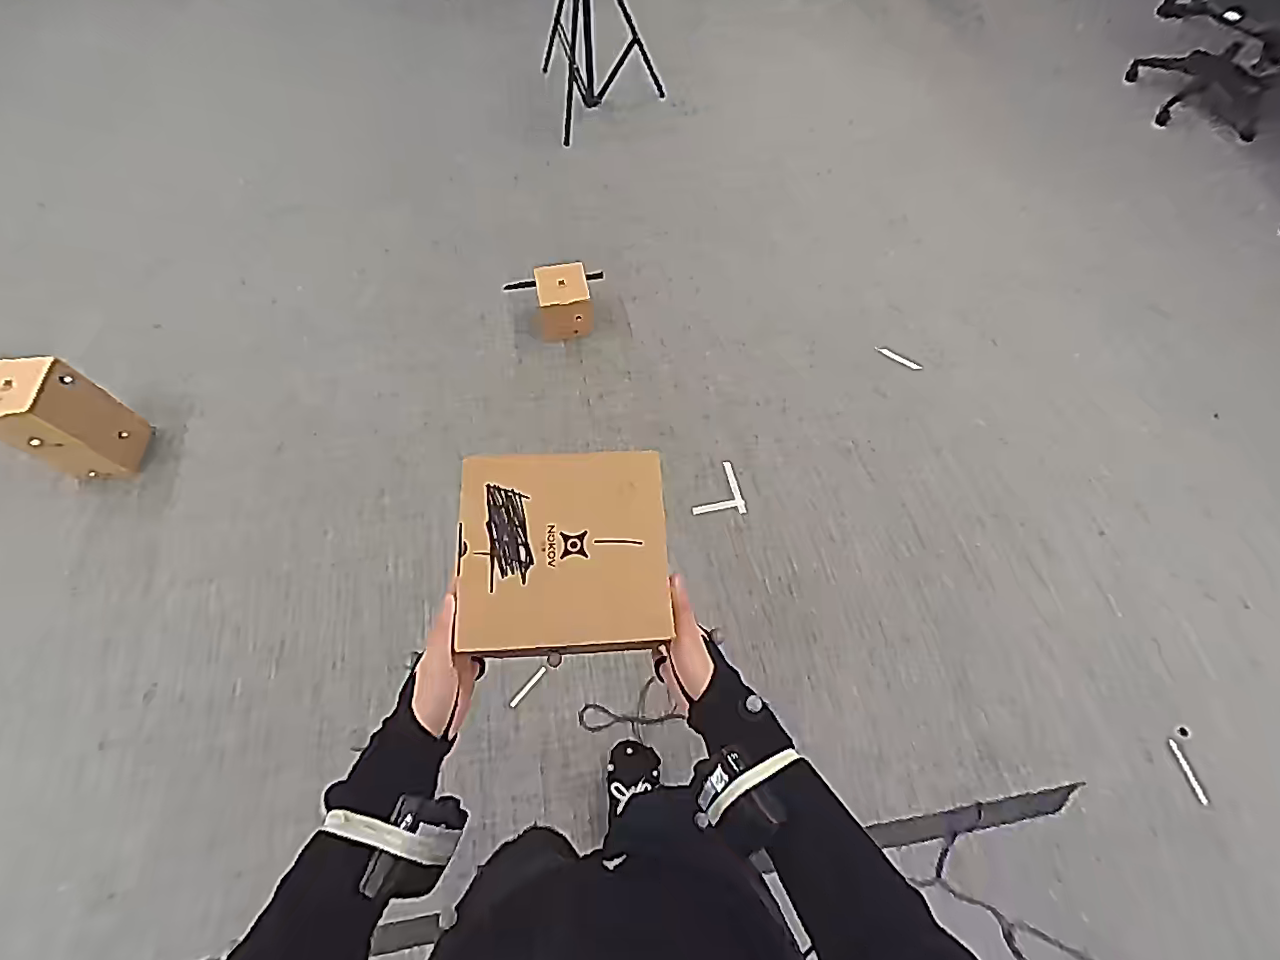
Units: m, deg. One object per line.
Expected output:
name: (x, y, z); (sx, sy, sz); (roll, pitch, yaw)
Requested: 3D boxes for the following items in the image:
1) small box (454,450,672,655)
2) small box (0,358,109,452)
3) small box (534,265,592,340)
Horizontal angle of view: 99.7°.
small box: (-0.068, 0.080, 0.531); (0.179, 0.176, 0.168); (-2, 71, -5)
small box: (-1.554, -0.193, 1.406); (0.168, 0.176, 0.179); (-5, 64, -3)
small box: (-0.258, -0.596, 1.839); (0.168, 0.176, 0.179); (-10, 63, -8)
